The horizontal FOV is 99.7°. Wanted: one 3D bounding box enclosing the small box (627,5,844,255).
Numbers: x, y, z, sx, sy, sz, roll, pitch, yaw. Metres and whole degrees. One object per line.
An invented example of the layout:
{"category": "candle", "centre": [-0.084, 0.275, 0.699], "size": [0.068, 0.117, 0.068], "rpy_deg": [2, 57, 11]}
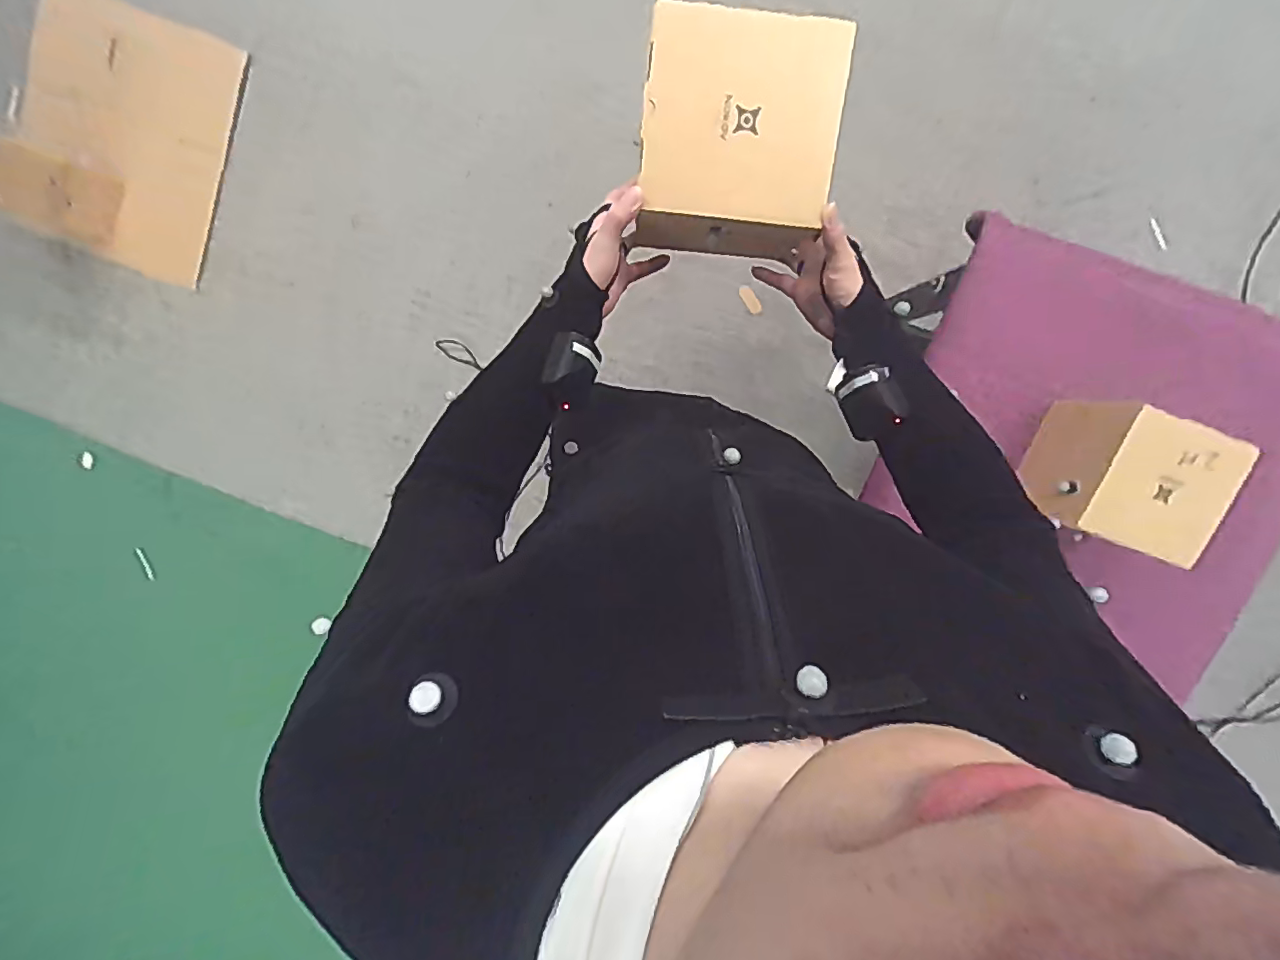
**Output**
{"category": "small box", "centre": [0.084, -0.338, 0.559], "size": [0.179, 0.176, 0.168], "rpy_deg": [6, 103, 1]}

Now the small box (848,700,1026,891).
{"category": "small box", "centre": [0.461, 0.498, 0.875], "size": [0.168, 0.176, 0.179], "rpy_deg": [20, 100, 0]}

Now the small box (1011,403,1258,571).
{"category": "small box", "centre": [0.684, 0.000, 0.779], "size": [0.168, 0.176, 0.179], "rpy_deg": [22, 100, 0]}
